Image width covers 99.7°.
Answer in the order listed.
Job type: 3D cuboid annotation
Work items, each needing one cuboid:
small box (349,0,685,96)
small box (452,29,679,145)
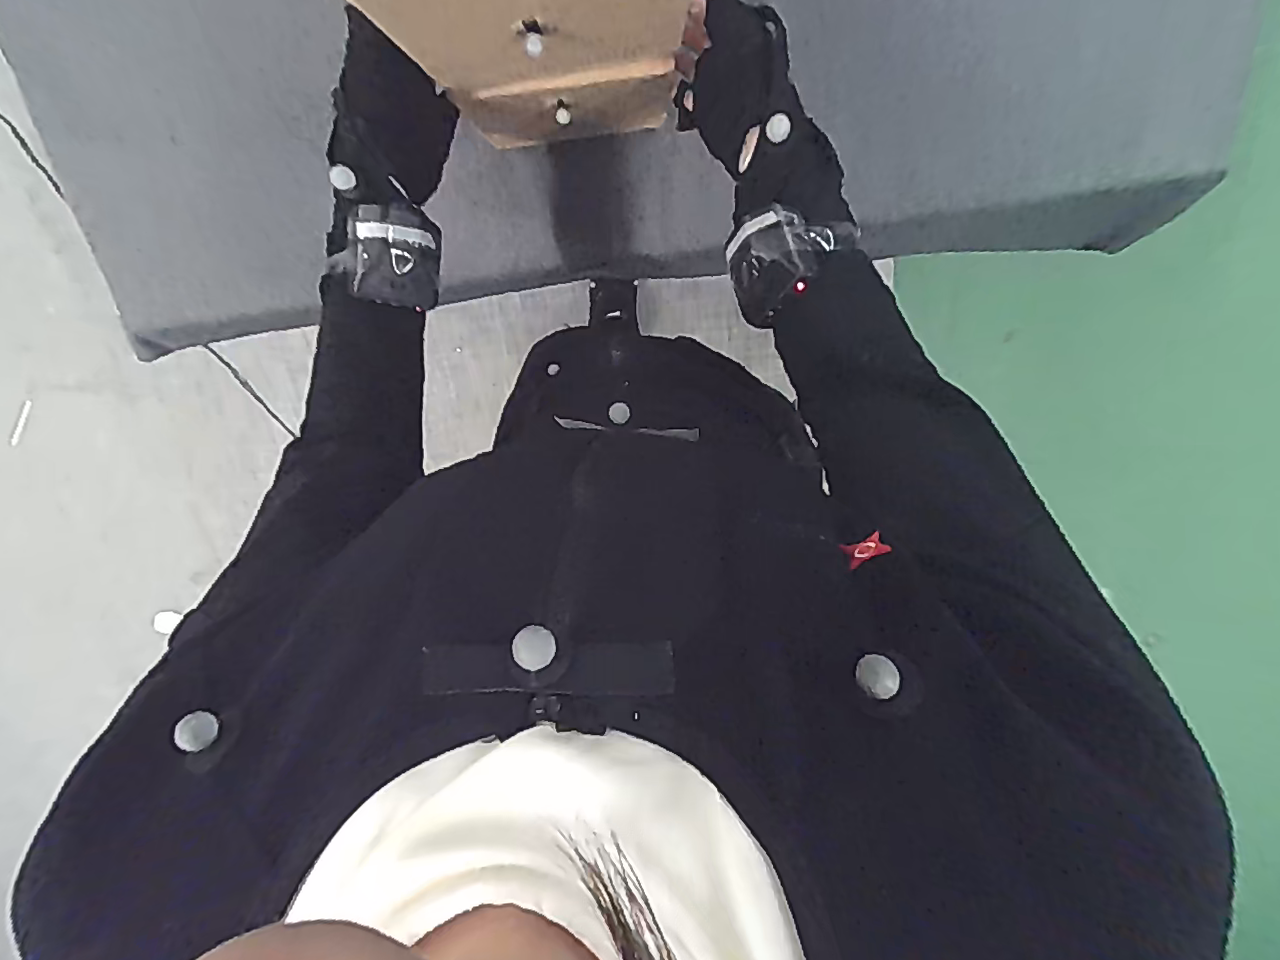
[{"bbox_3d":[-0.067,-0.343,0.301,0.179,0.176,0.168,-8,112,4],"label":"small box"},{"bbox_3d":[-0.067,-0.401,0.456,0.179,0.176,0.168,-8,112,1],"label":"small box"}]
